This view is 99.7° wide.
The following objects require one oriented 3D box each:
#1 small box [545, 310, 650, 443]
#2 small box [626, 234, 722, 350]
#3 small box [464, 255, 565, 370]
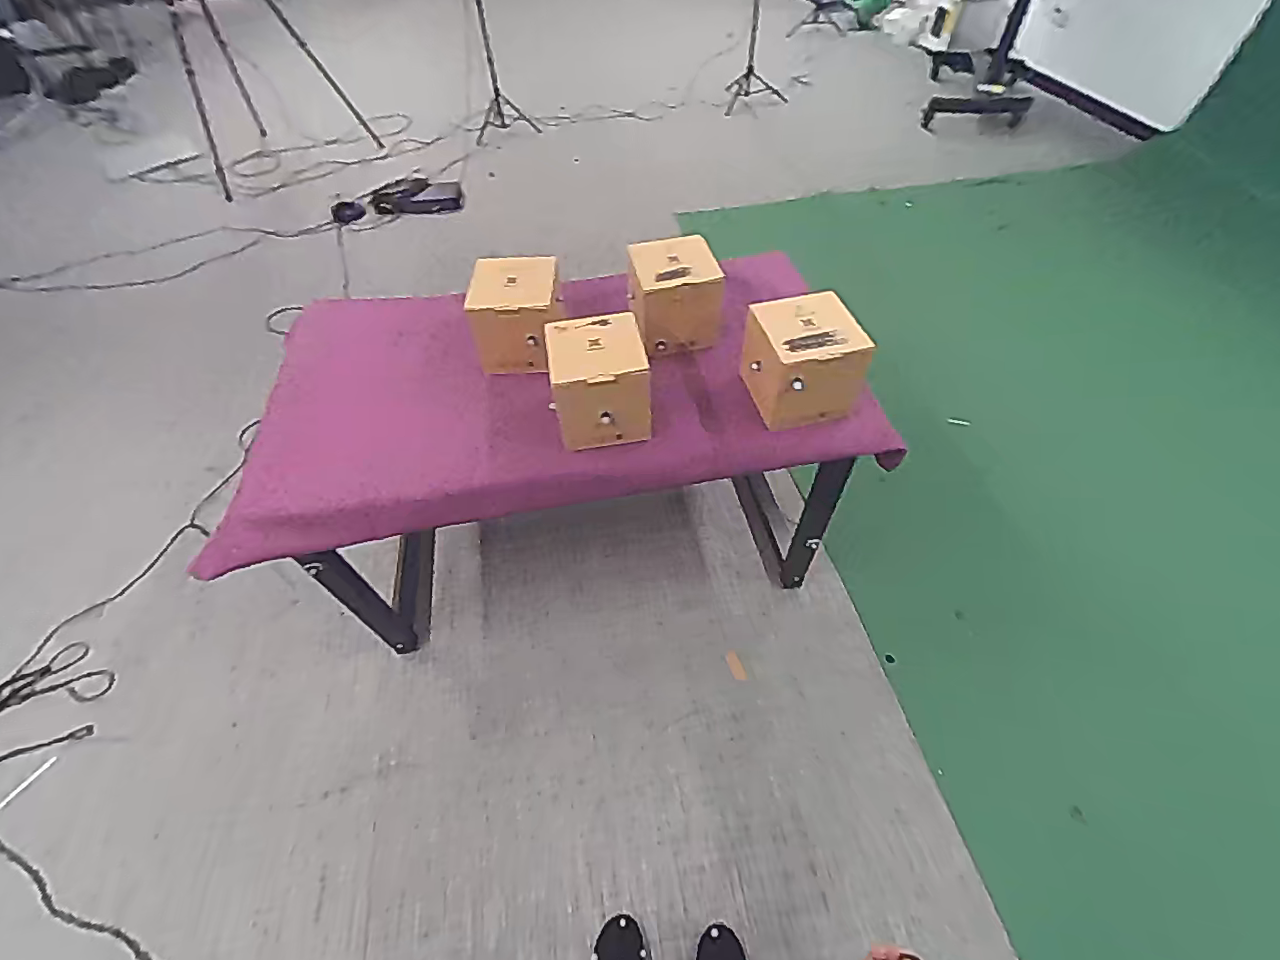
[{"bbox_3d":[-0.076,-0.184,1.000,0.168,0.176,0.179,-9,52,-5],"label":"small box"},{"bbox_3d":[0.070,-0.395,1.158,0.168,0.176,0.179,-11,52,-6],"label":"small box"},{"bbox_3d":[-0.250,-0.345,1.134,0.168,0.176,0.179,-1,53,0],"label":"small box"}]
